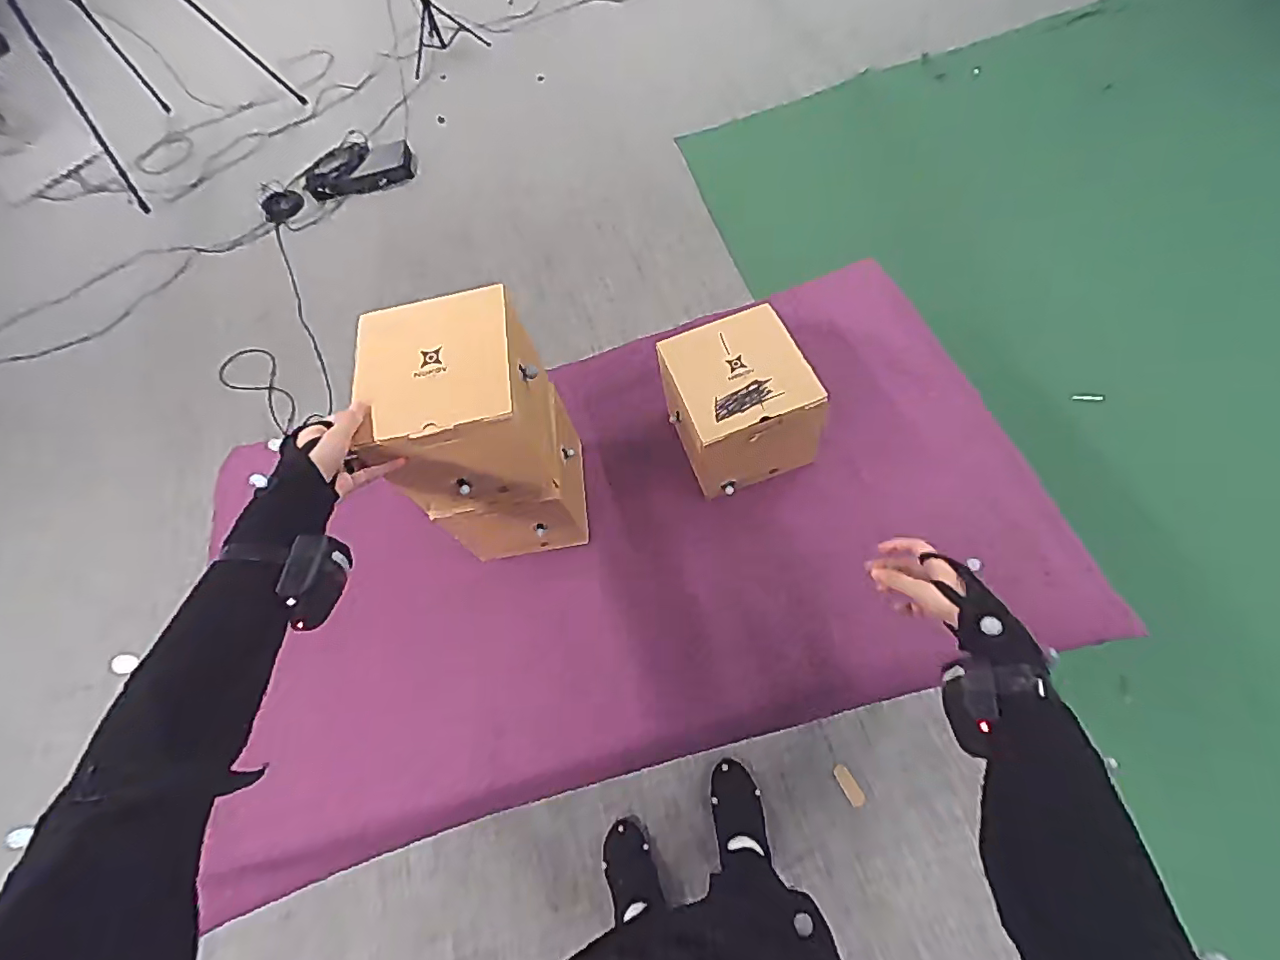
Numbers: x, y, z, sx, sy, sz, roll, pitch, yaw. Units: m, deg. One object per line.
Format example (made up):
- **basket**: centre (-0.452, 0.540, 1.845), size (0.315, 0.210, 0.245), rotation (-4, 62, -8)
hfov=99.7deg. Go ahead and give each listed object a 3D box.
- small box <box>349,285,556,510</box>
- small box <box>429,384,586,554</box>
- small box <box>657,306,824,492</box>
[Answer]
- **small box**: centre (-0.201, -0.087, 0.621), size (0.168, 0.176, 0.179), rotation (-11, 63, 2)
- **small box**: centre (-0.175, -0.005, 0.759), size (0.168, 0.176, 0.179), rotation (-9, 62, 4)
- **small box**: centre (0.135, -0.101, 0.757), size (0.168, 0.176, 0.179), rotation (-19, 61, -1)
